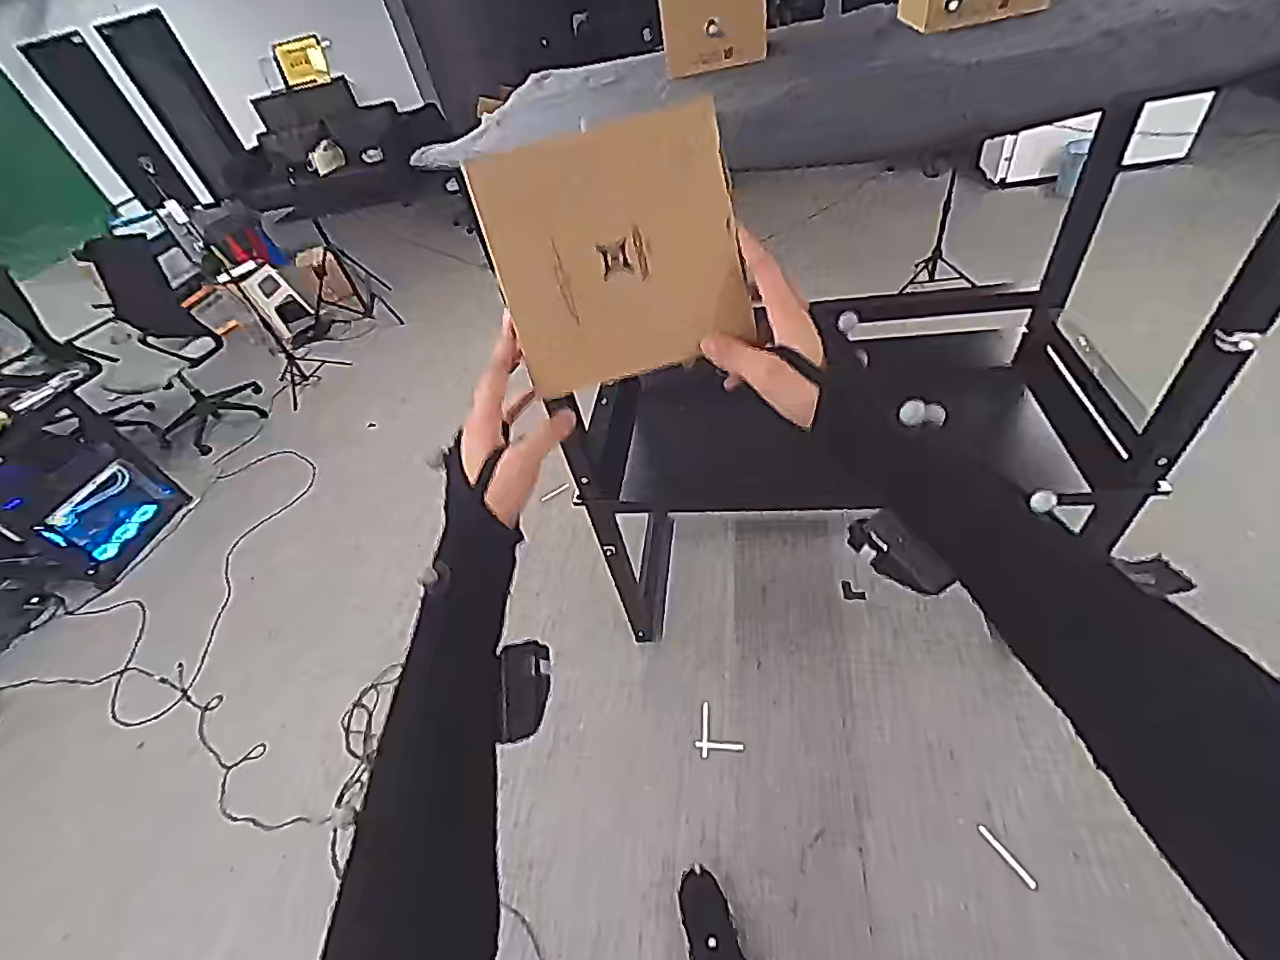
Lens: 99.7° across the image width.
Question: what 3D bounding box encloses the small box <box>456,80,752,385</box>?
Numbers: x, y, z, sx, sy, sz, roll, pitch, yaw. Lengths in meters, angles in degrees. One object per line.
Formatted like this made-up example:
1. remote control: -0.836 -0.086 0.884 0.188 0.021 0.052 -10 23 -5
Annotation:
1. small box: -0.028 -0.189 0.451 0.179 0.168 0.176 -16 18 -2

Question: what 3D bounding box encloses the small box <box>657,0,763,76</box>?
1. small box: 0.116 -0.799 0.899 0.168 0.176 0.179 -4 46 11

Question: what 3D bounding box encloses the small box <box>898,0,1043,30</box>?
1. small box: 0.491 -0.782 0.787 0.168 0.176 0.179 -4 45 11
